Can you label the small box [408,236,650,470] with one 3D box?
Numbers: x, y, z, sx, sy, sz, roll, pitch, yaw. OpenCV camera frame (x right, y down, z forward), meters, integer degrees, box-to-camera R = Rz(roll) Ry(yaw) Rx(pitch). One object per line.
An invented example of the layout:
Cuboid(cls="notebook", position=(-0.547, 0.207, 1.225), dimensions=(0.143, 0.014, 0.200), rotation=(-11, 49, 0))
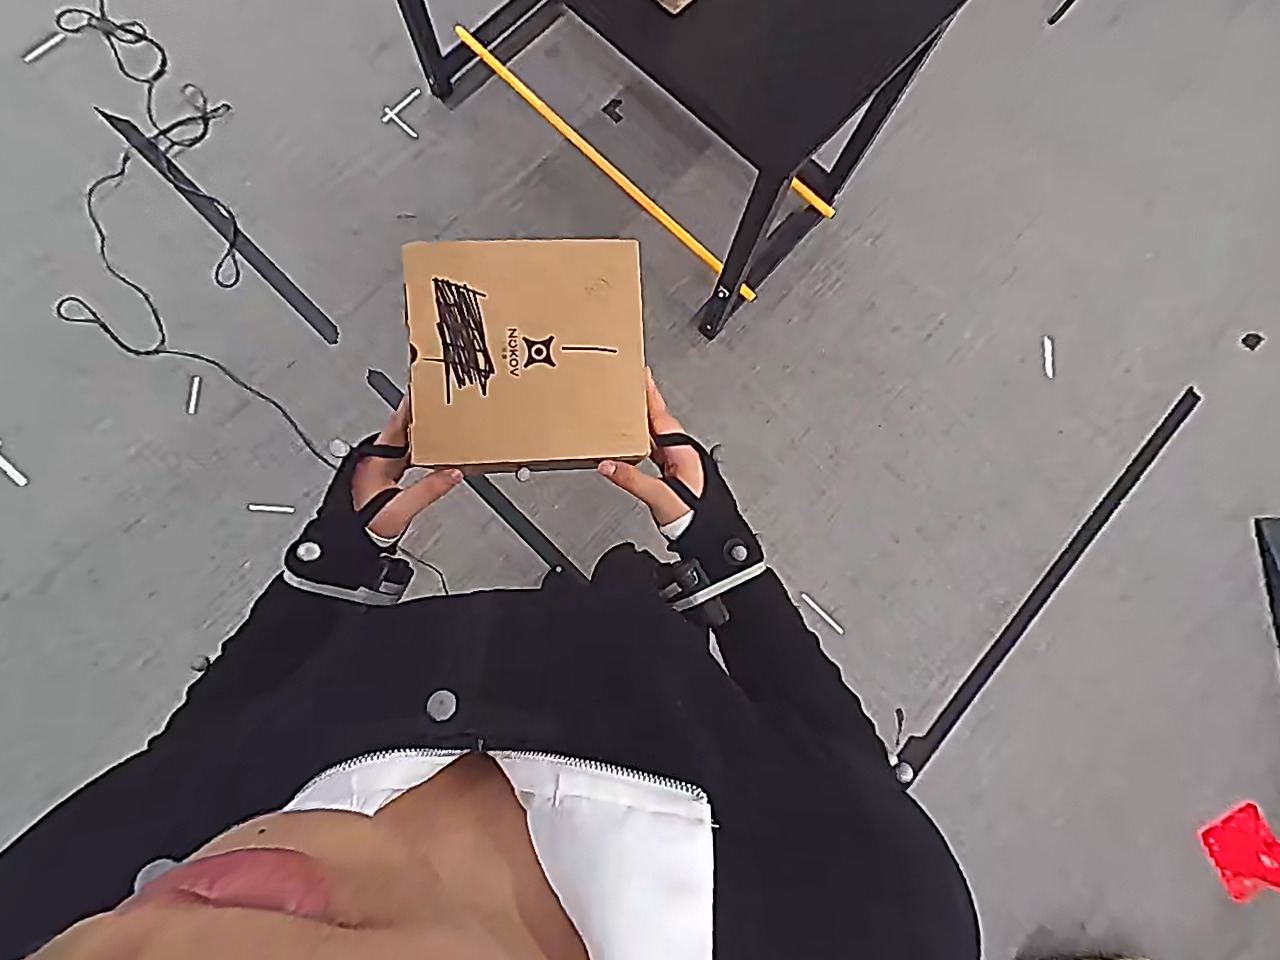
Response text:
Cuboid(cls="small box", position=(-0.087, -0.096, 0.479), dimensions=(0.179, 0.176, 0.168), rotation=(-3, 89, -5))
